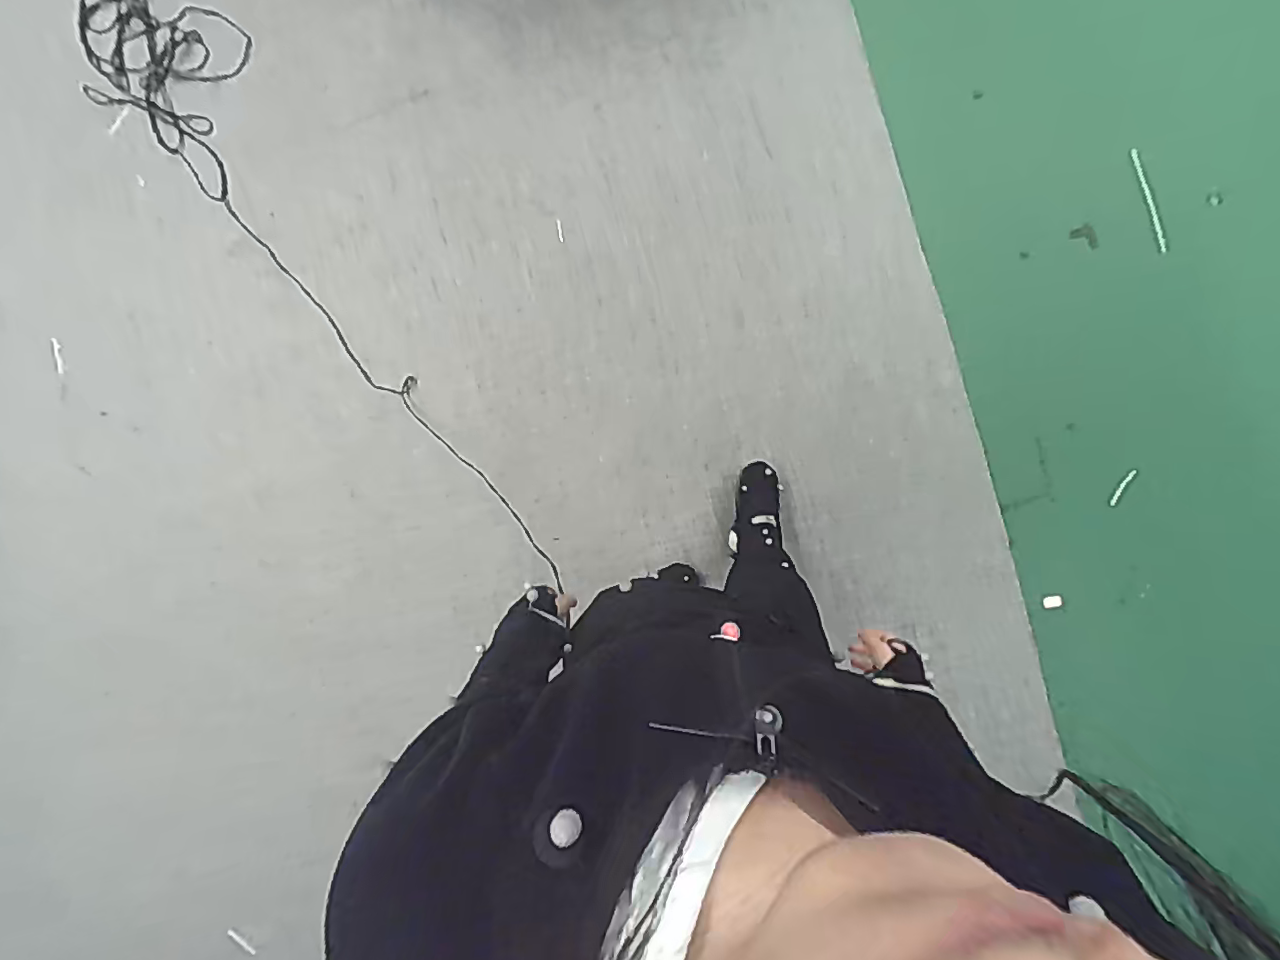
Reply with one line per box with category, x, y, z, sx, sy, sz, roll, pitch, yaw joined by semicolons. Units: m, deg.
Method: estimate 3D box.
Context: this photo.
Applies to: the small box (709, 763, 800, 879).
small box;0.280;0.855;1.373;0.179;0.176;0.168;-18;86;0
